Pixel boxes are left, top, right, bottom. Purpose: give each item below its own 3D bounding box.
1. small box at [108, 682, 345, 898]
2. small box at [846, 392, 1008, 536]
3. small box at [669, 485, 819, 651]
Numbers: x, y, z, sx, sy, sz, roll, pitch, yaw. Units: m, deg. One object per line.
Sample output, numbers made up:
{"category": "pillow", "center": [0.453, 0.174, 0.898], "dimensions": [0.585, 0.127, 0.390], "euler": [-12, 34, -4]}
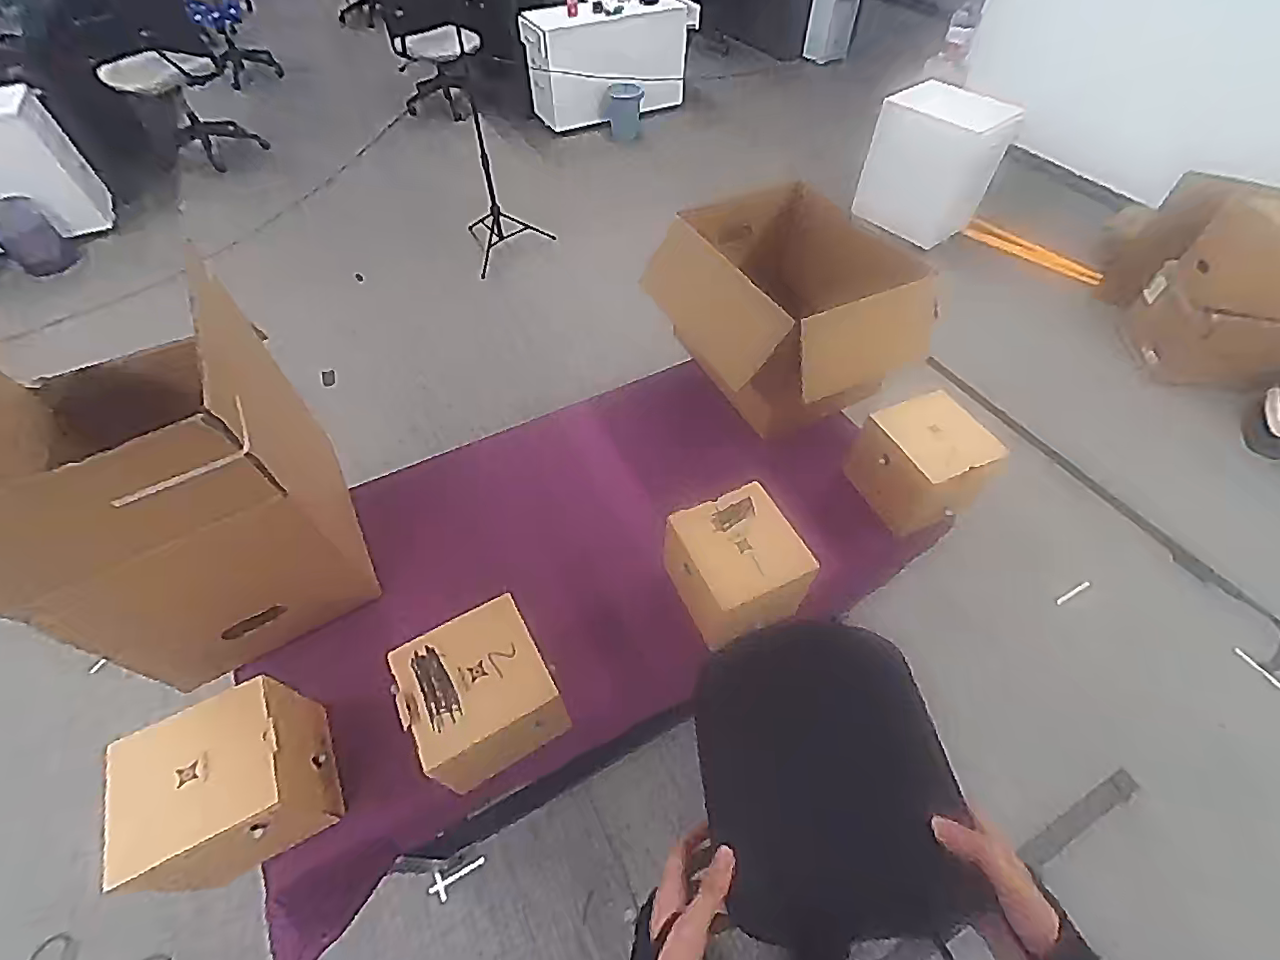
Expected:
{"category": "small box", "center": [-0.514, 0.398, 0.691], "dimensions": [0.179, 0.176, 0.168], "euler": [-24, 56, -18]}
{"category": "small box", "center": [0.511, -0.028, 0.996], "dimensions": [0.168, 0.176, 0.179], "euler": [-19, 55, -12]}
{"category": "small box", "center": [0.153, 0.145, 0.874], "dimensions": [0.168, 0.176, 0.179], "euler": [-21, 56, -14]}
